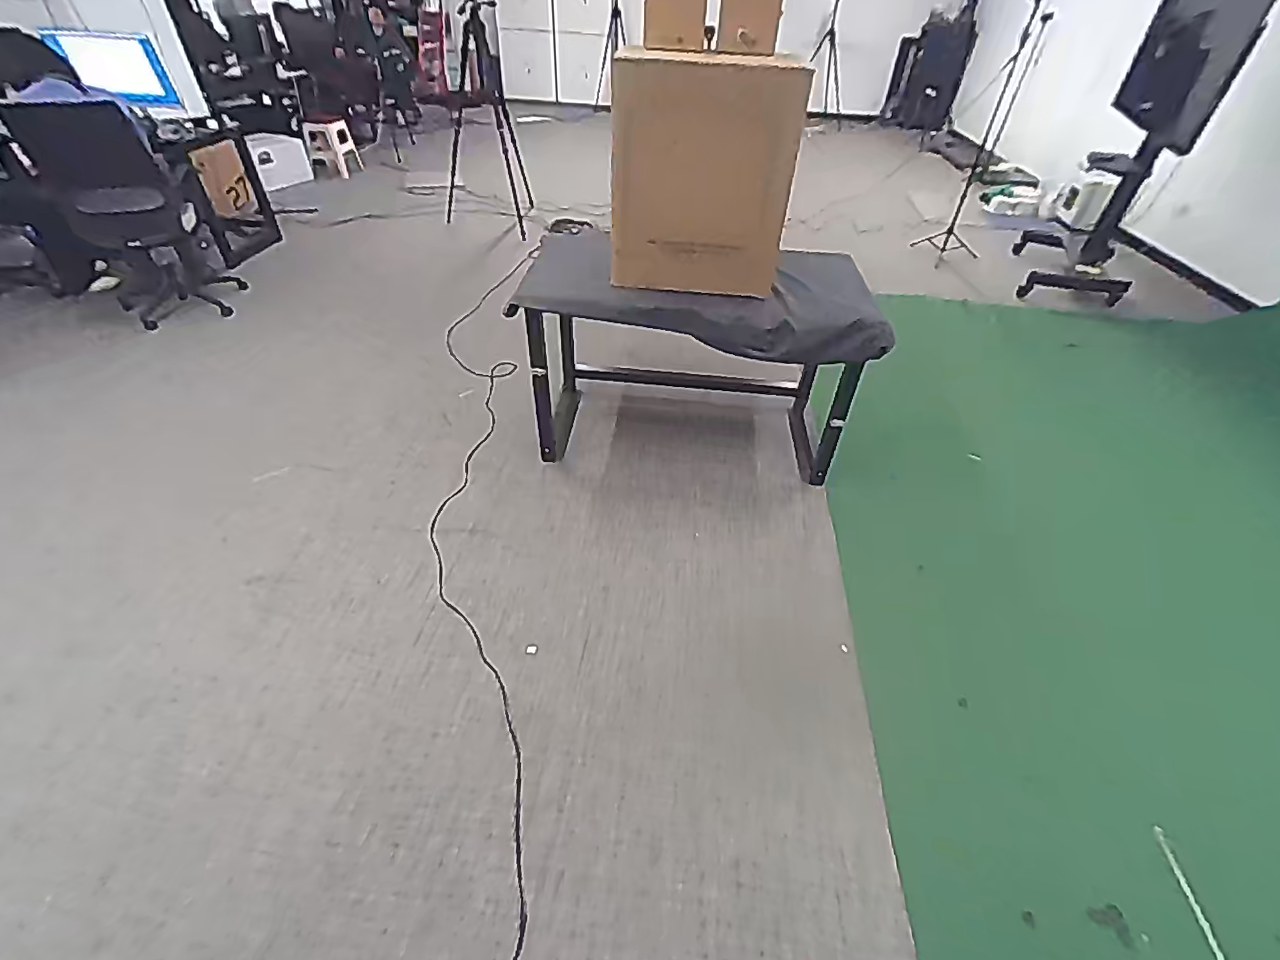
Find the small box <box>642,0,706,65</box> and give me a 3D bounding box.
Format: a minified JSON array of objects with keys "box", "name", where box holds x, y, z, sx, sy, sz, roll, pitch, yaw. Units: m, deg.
[{"box":[0.097,-1.292,1.535,0.168,0.176,0.179,5,40,5],"name":"small box"}]
